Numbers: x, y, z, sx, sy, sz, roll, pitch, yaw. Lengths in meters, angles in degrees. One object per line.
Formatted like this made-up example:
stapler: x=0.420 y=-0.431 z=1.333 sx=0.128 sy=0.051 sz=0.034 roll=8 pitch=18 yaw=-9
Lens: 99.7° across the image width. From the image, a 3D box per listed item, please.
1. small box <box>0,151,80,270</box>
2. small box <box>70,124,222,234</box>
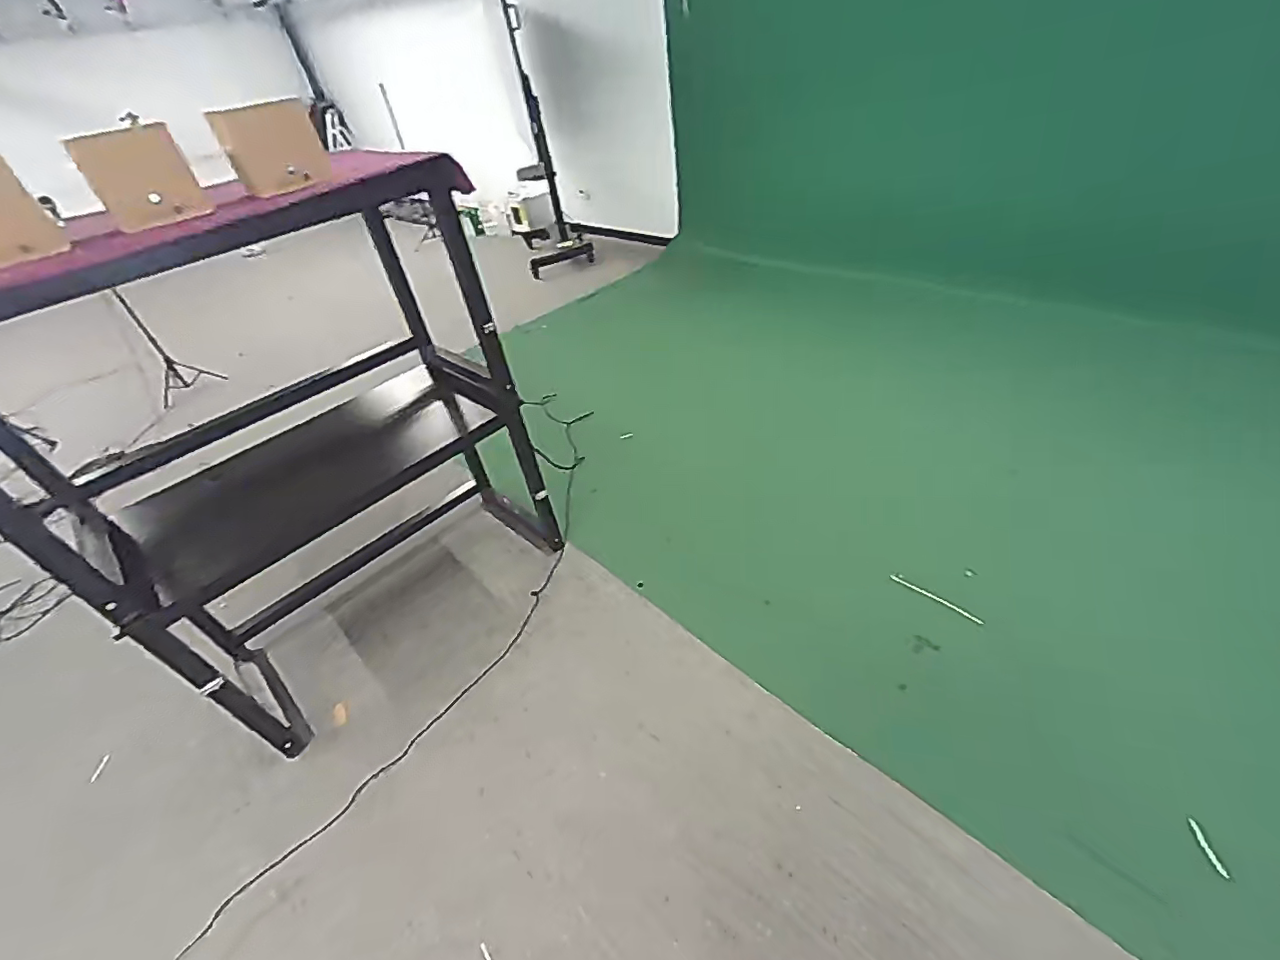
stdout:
small box: x=-1.192 y=-0.490 z=0.994 sx=0.179 sy=0.176 sz=0.168 roll=26 pitch=51 yaw=38
small box: x=-1.017 y=-0.622 z=1.120 sx=0.168 sy=0.176 sz=0.179 roll=-36 pitch=46 yaw=-29
